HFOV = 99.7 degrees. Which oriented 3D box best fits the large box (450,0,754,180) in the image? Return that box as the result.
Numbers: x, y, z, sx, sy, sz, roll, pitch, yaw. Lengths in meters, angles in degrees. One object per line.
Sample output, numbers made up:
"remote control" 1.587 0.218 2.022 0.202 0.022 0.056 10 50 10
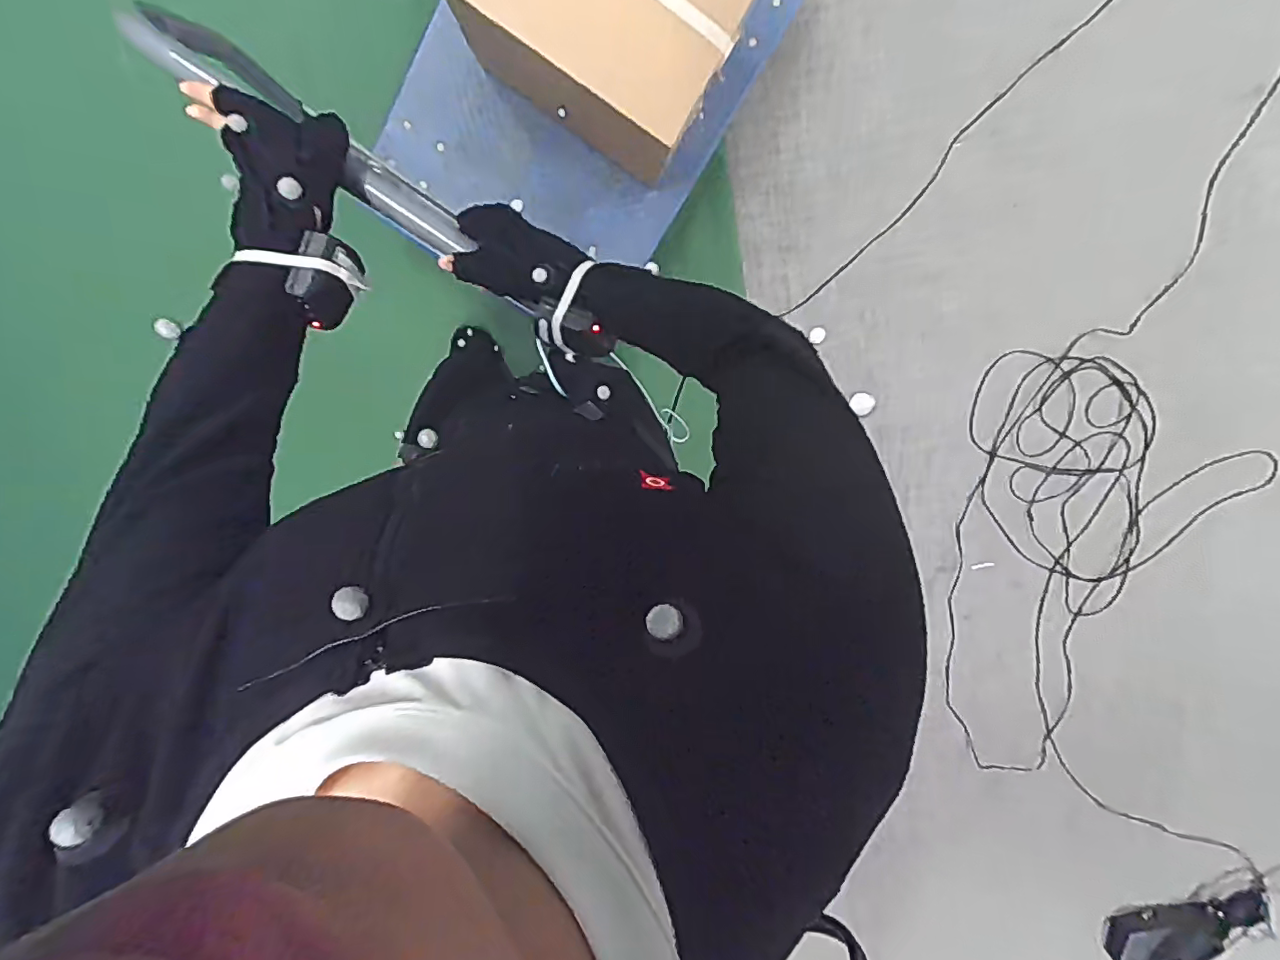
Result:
"large box" -0.049 -0.791 0.917 0.408 0.320 0.320 29 103 -12
